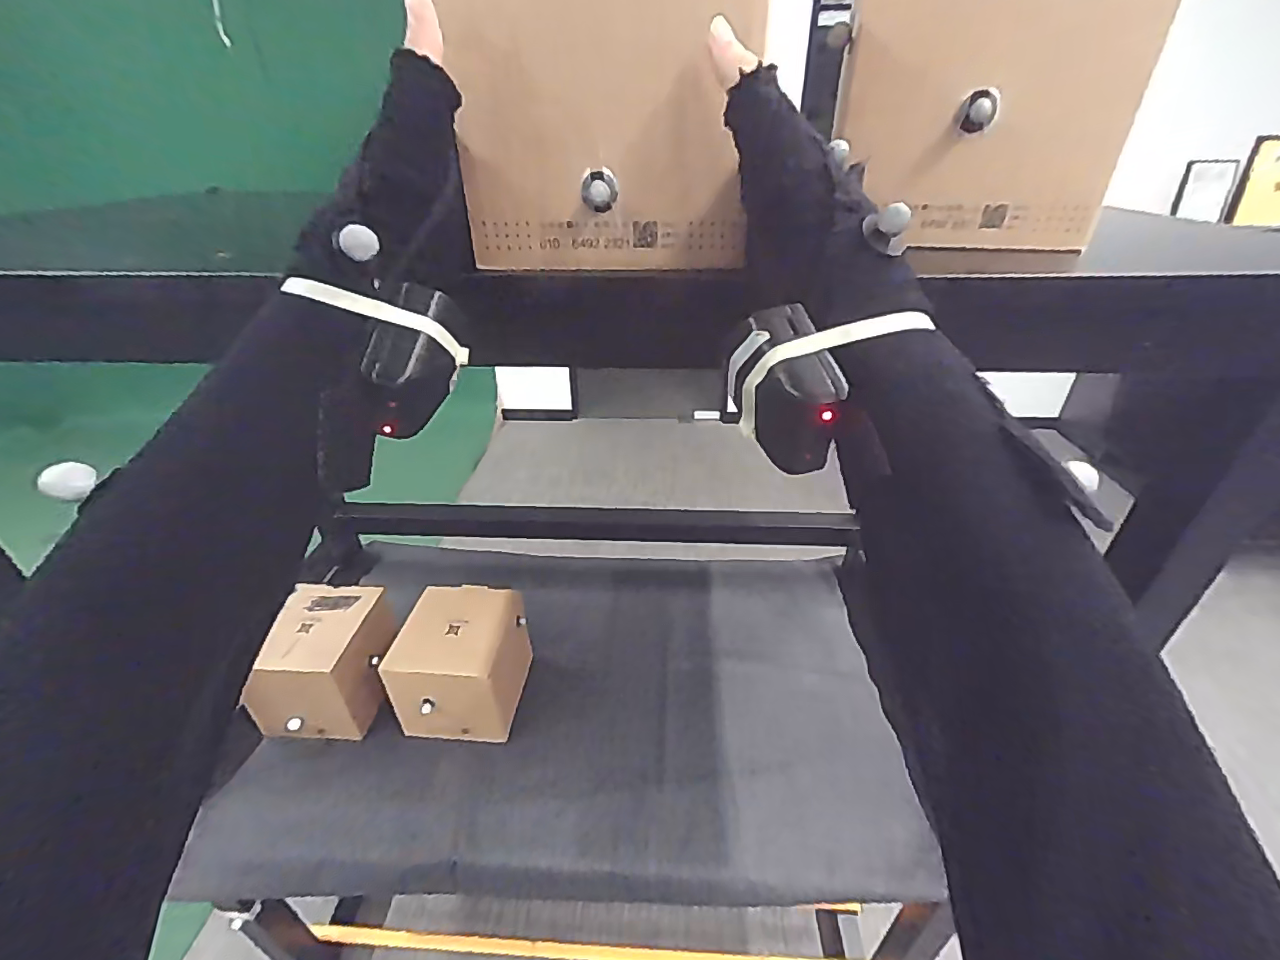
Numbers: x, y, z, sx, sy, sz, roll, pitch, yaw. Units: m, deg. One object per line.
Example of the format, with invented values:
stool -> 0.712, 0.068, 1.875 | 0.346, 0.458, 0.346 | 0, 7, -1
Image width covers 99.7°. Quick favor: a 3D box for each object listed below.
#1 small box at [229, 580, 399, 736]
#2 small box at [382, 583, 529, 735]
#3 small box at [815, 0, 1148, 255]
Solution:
small box -> -0.515, 0.290, 0.894 | 0.168, 0.176, 0.179 | 2, 33, 3
small box -> -0.288, 0.294, 0.891 | 0.168, 0.176, 0.179 | 2, 32, 4
small box -> 0.232, -0.274, 0.412 | 0.168, 0.176, 0.179 | 7, 33, 12
